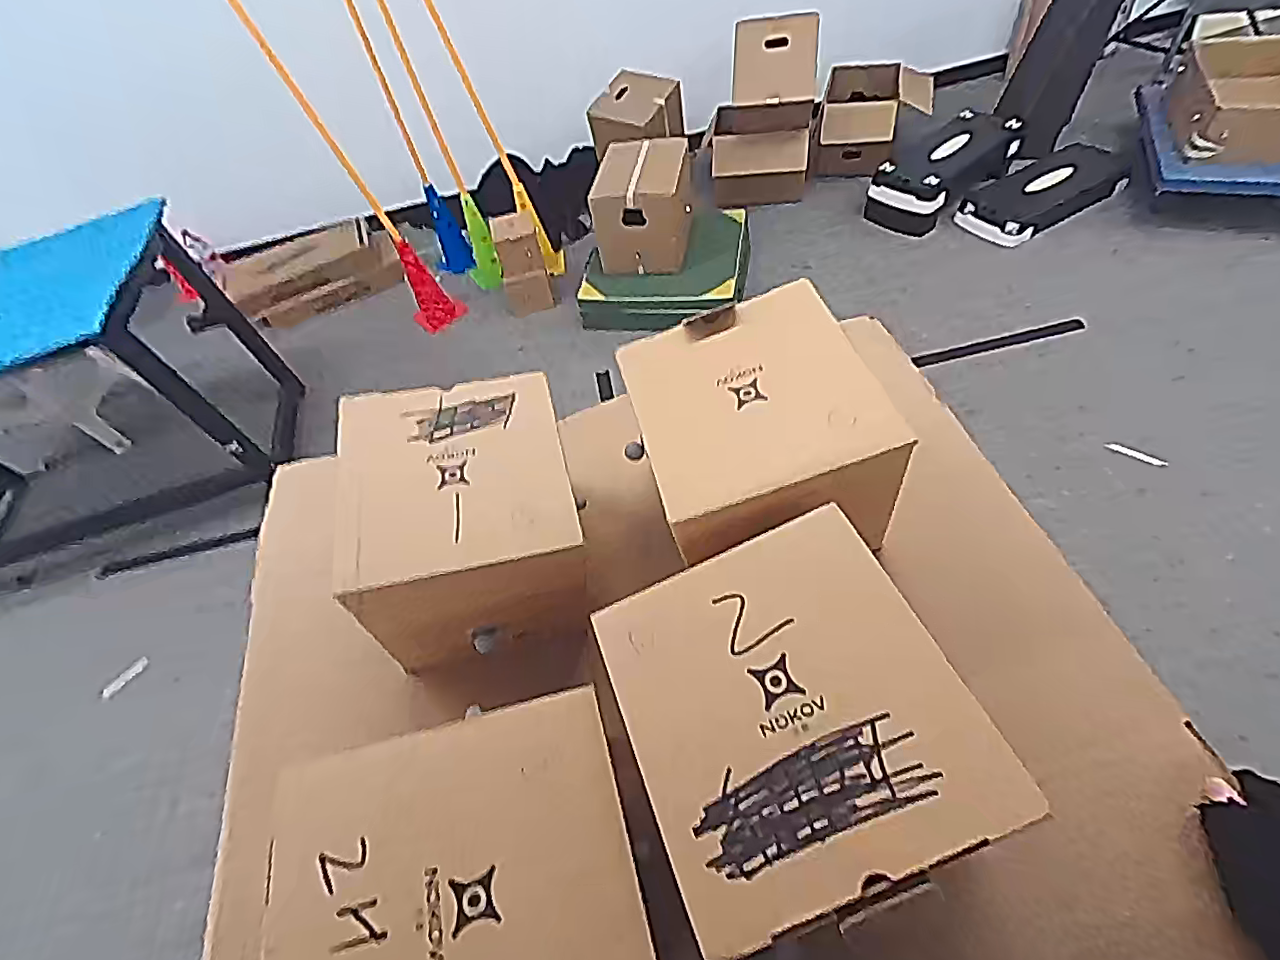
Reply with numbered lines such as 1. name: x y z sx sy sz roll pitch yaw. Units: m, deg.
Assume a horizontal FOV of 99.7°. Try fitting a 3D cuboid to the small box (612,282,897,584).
1. small box: 0.093 -0.027 0.466 0.168 0.176 0.179 -20 54 4
